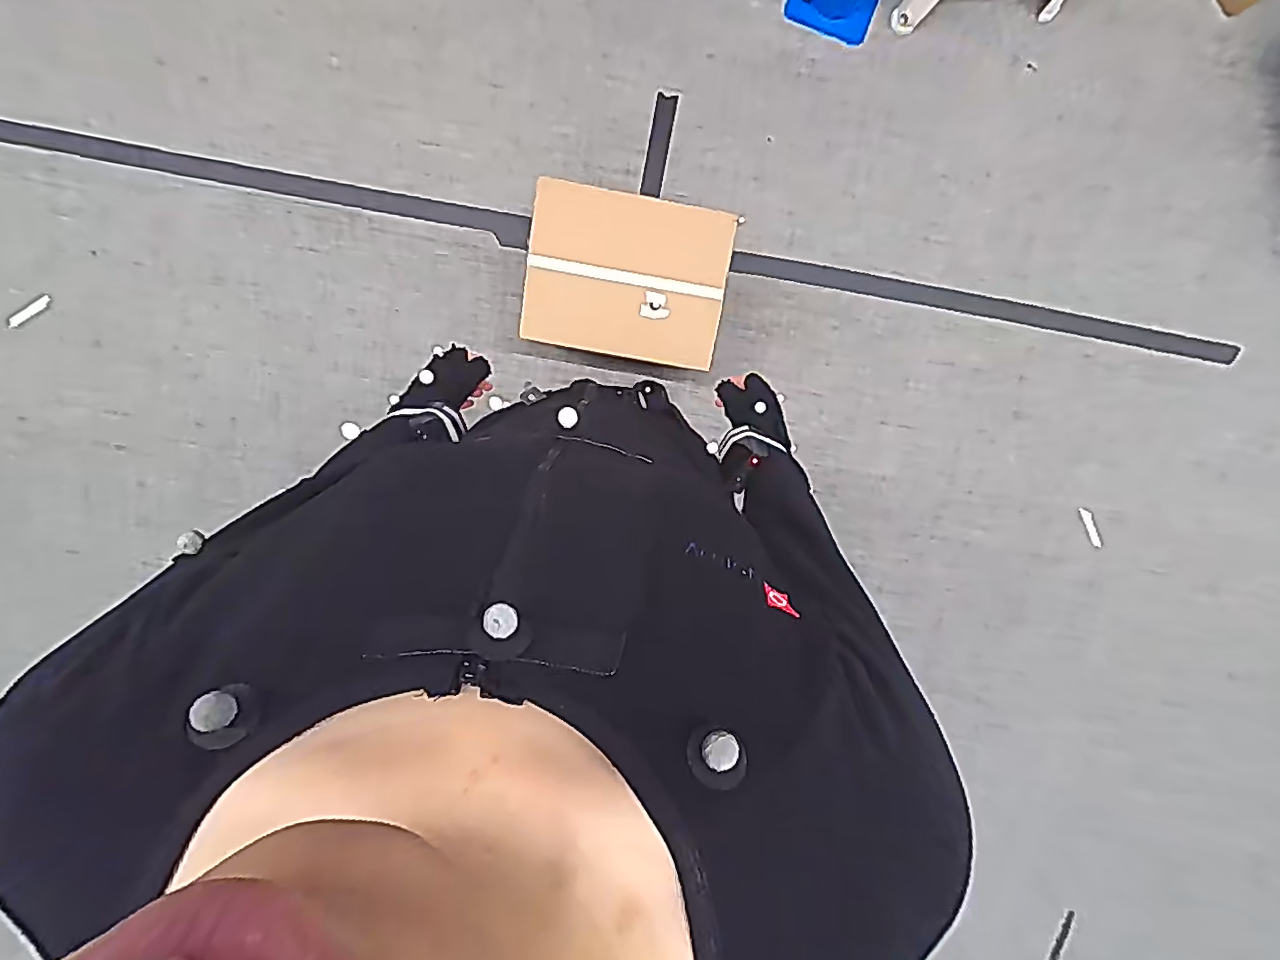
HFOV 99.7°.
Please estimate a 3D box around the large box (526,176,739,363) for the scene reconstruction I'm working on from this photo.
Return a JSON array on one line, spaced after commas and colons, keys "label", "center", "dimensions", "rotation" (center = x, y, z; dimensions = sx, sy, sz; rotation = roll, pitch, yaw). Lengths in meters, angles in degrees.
[{"label": "large box", "center": [-0.026, -0.453, 1.243], "dimensions": [0.408, 0.320, 0.320], "rotation": [9, 103, -4]}]
